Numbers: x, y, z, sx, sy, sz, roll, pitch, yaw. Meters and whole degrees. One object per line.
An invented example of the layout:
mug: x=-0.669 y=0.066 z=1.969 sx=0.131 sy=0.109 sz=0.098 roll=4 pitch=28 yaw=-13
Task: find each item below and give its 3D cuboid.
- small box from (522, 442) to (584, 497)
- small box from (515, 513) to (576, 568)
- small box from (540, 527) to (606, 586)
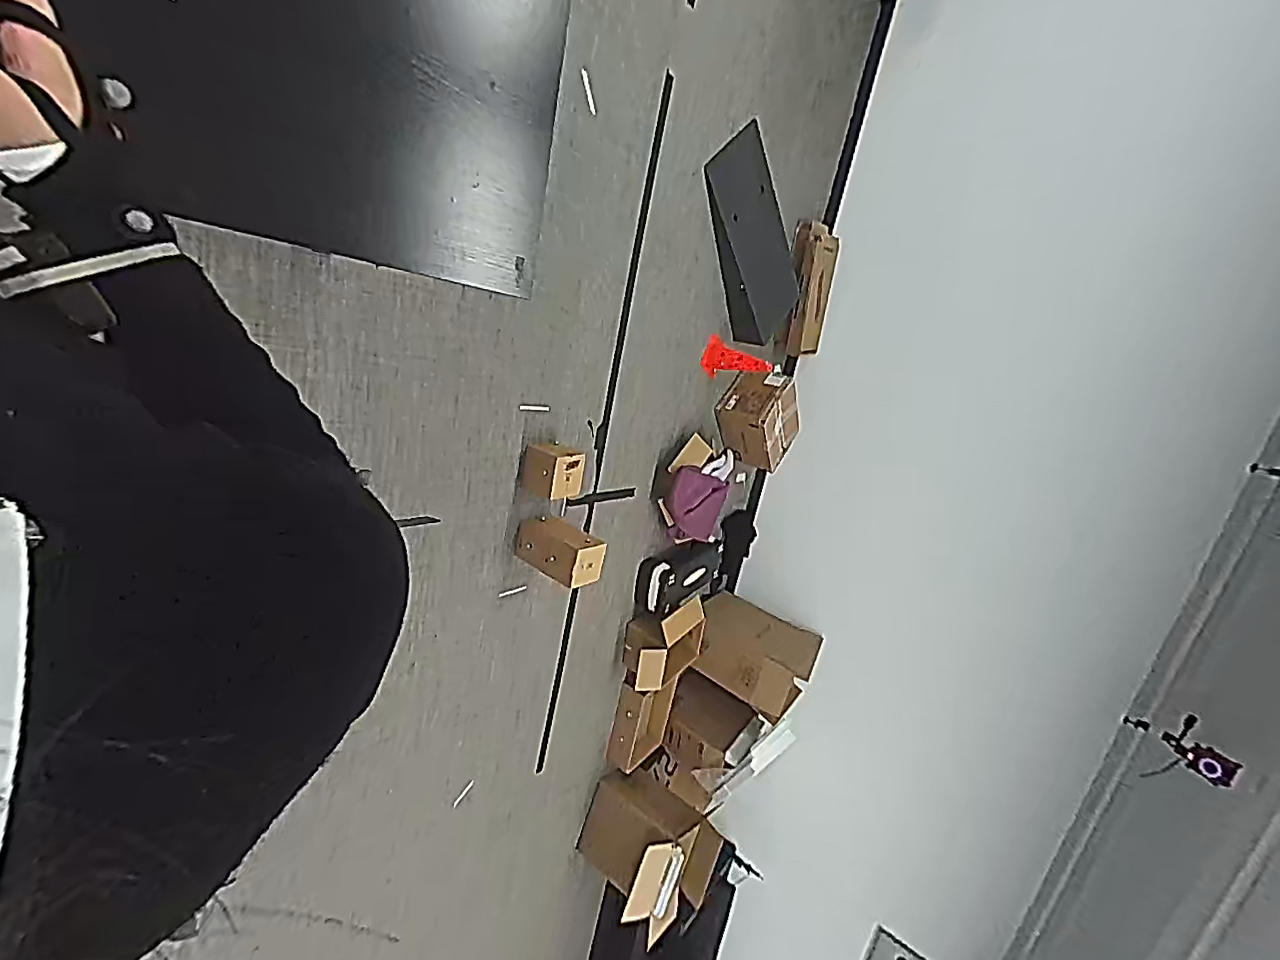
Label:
small box: x=-0.348 y=-0.050 z=2.137 sx=0.168 sy=0.176 sz=0.179 roll=-11 pitch=118 yaw=-53
small box: x=-0.396 y=0.249 z=2.248 sx=0.179 sy=0.176 sz=0.168 roll=-8 pitch=114 yaw=-53
small box: x=-0.268 y=0.298 z=2.152 sx=0.179 sy=0.176 sz=0.168 roll=-6 pitch=113 yaw=-54
